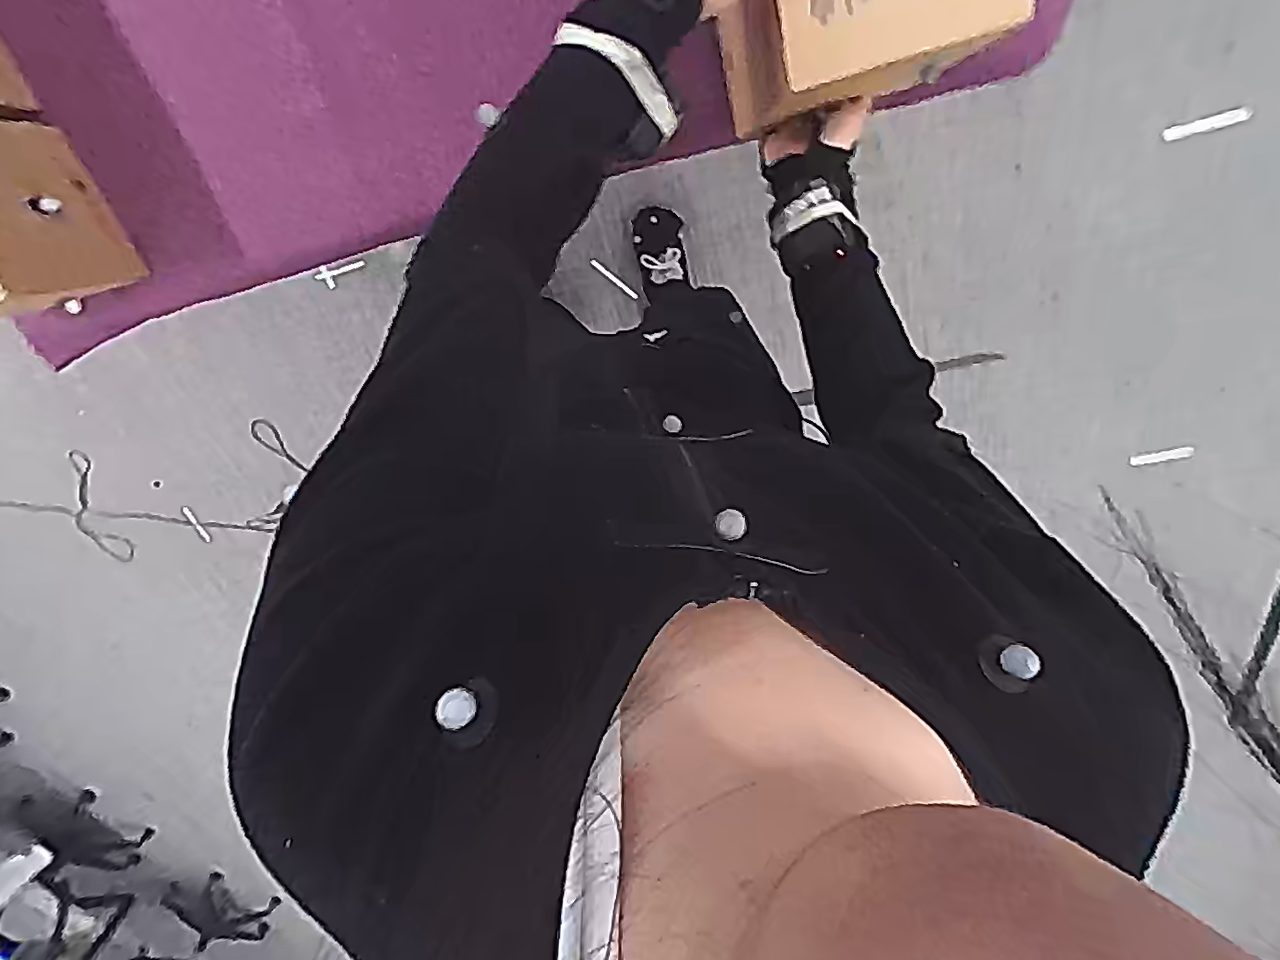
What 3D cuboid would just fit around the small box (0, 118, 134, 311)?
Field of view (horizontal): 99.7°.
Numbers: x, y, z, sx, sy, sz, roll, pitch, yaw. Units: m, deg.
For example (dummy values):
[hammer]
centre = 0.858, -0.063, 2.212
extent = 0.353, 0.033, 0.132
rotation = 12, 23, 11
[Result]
[small box]
centre = -0.709, -0.275, 0.577
extent = 0.179, 0.176, 0.168
rotation = -11, 117, 9
